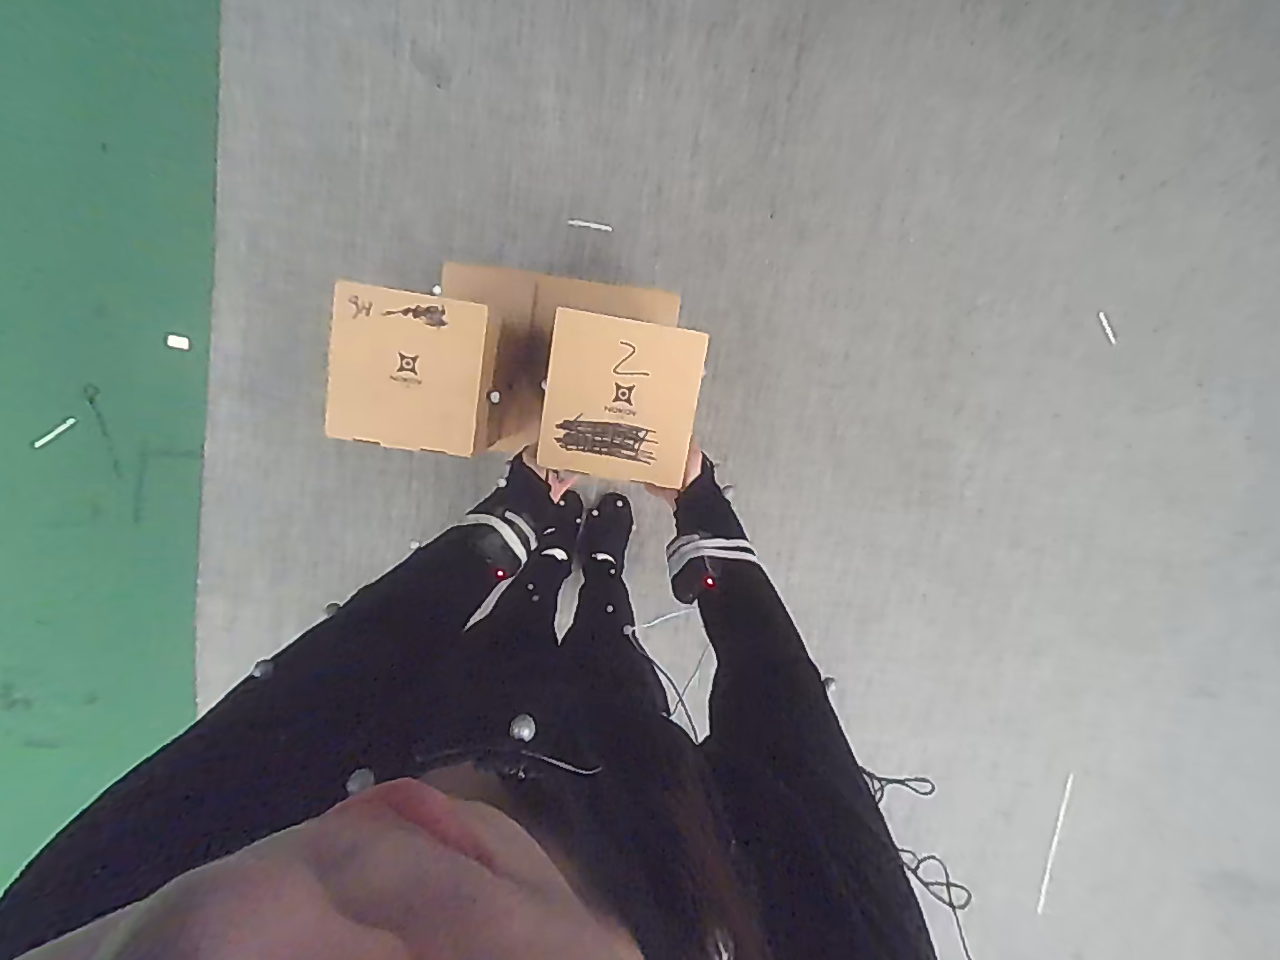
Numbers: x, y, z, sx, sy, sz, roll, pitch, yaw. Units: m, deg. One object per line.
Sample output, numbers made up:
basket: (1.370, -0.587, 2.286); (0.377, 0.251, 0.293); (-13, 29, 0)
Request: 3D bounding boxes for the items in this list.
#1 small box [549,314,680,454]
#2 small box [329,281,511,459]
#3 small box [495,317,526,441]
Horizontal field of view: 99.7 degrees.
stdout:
small box: (-0.040, -0.148, 0.862); (0.168, 0.176, 0.179); (11, 96, -4)
small box: (-0.266, -0.134, 0.686); (0.168, 0.176, 0.179); (9, 99, -6)
small box: (-0.277, -0.165, 0.847); (0.168, 0.176, 0.179); (7, 99, -6)
